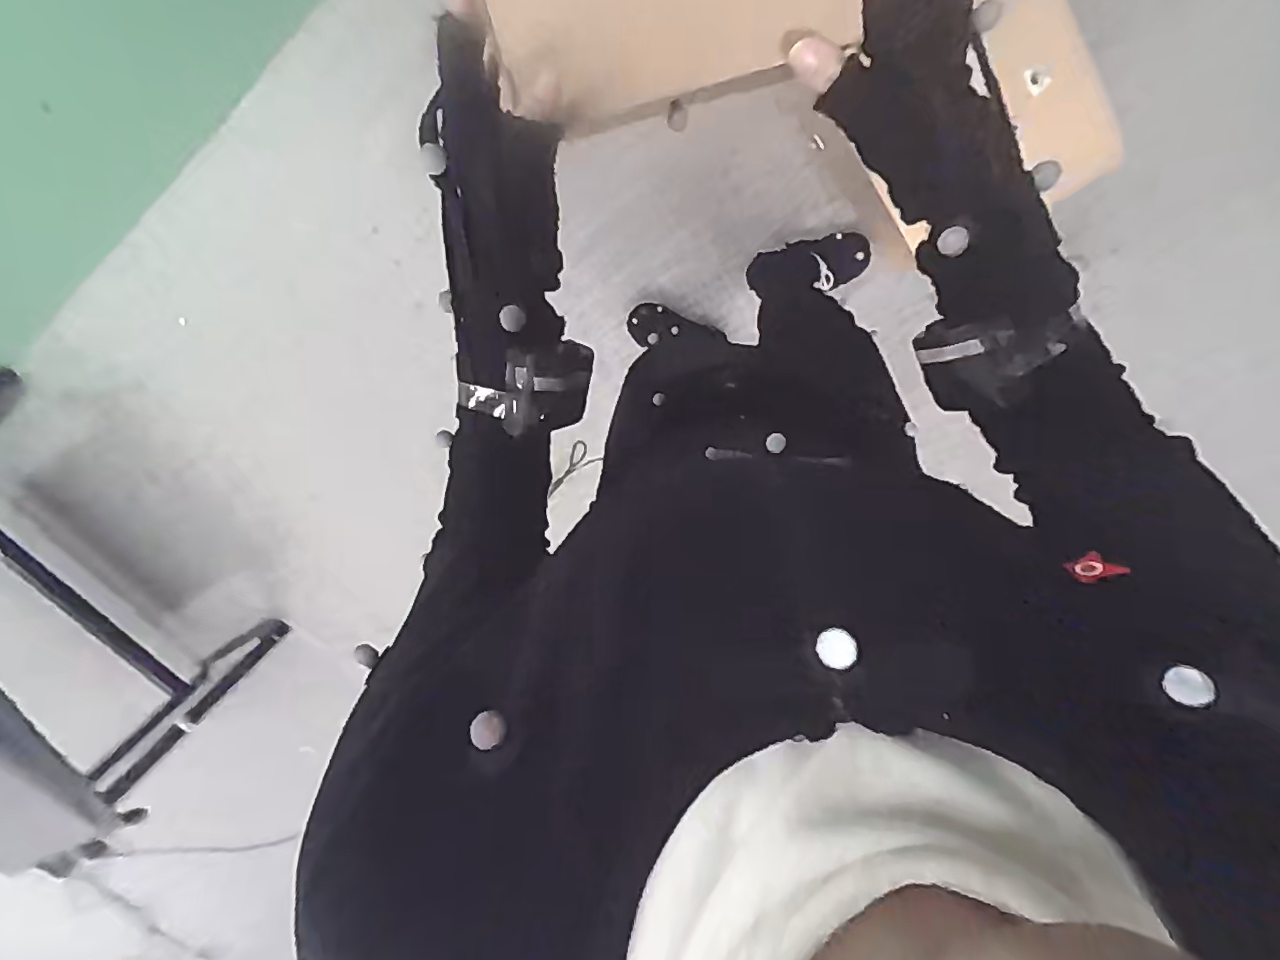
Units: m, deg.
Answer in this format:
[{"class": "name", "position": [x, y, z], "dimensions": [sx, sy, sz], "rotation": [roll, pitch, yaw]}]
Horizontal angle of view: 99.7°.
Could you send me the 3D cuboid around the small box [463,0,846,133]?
[{"class": "small box", "position": [-0.002, -0.304, 0.295], "dimensions": [0.179, 0.176, 0.168], "rotation": [-12, 122, 8]}]
